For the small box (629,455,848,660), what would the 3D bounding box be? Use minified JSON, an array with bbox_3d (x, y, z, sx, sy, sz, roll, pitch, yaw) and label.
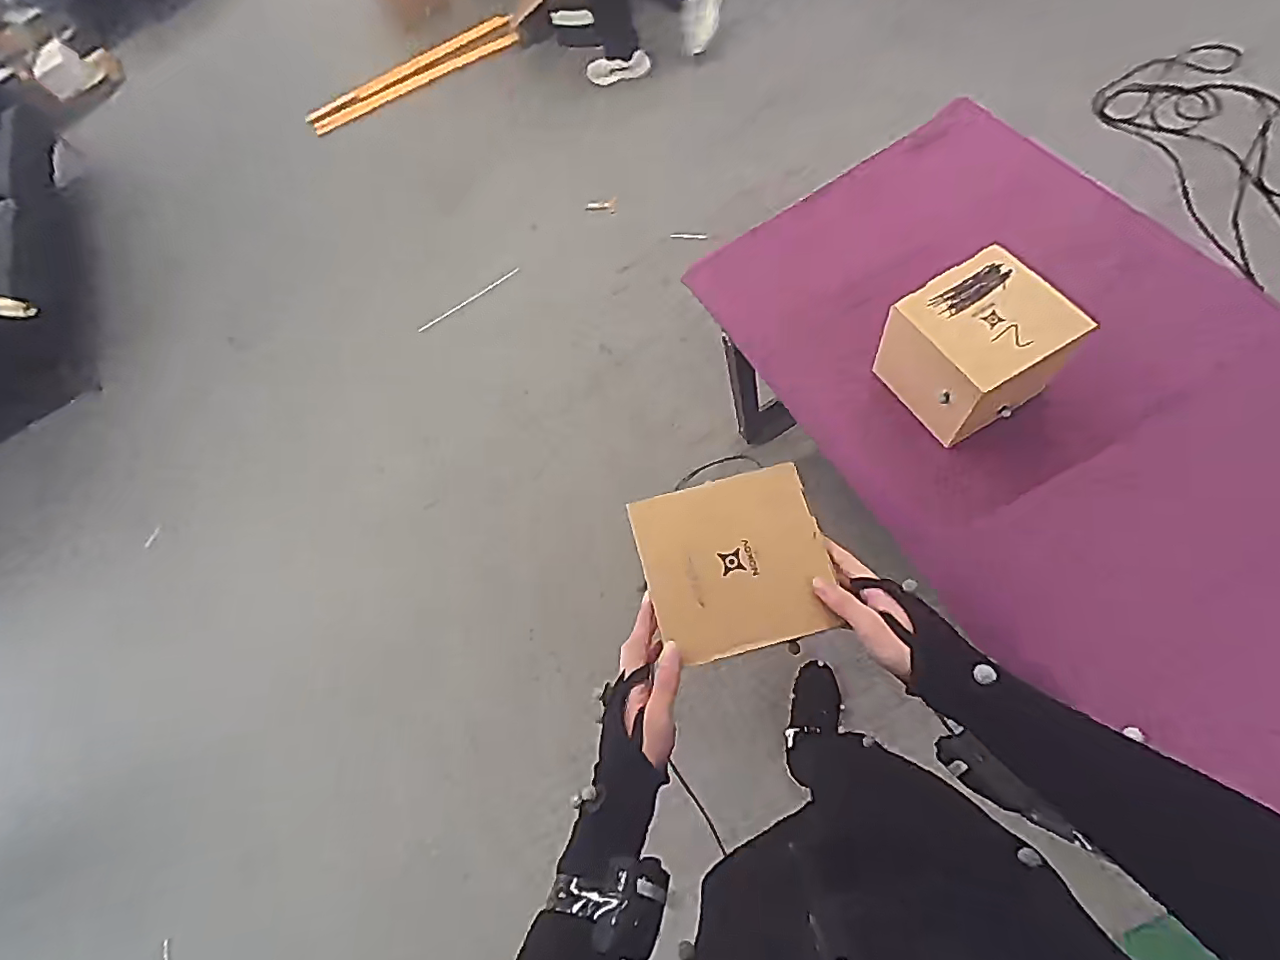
[{"bbox_3d":[0.094,0.092,0.590,0.179,0.176,0.168,-14,71,-1],"label":"small box"}]
